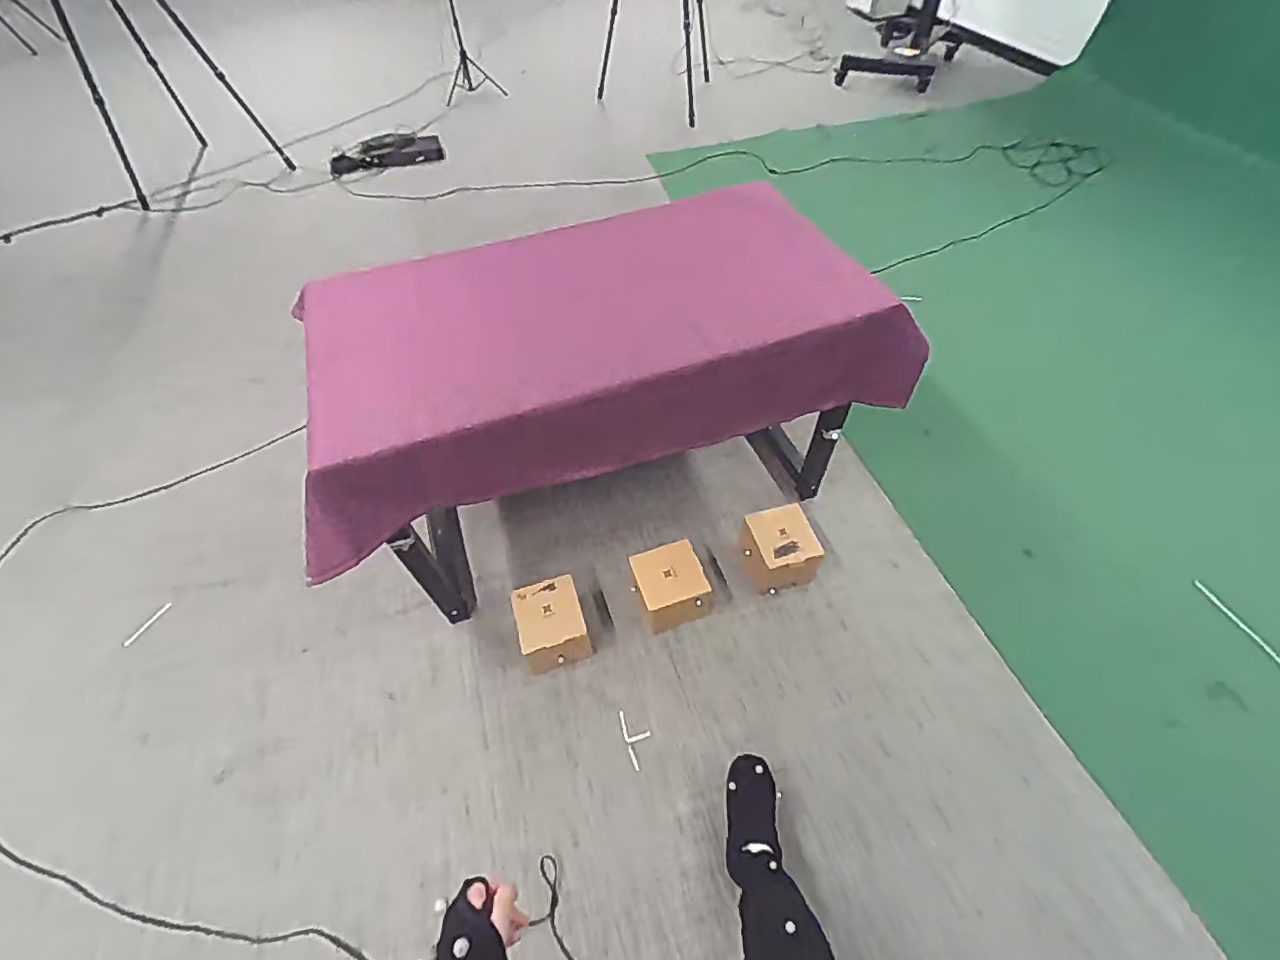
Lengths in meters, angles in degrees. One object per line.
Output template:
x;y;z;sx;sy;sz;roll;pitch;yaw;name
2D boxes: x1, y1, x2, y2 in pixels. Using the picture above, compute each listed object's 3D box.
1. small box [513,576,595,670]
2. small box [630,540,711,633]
-0.225;0.386;1.434;0.168;0.176;0.179;-16;55;-7;small box
0.083;0.298;1.486;0.179;0.176;0.168;-17;55;-10;small box
